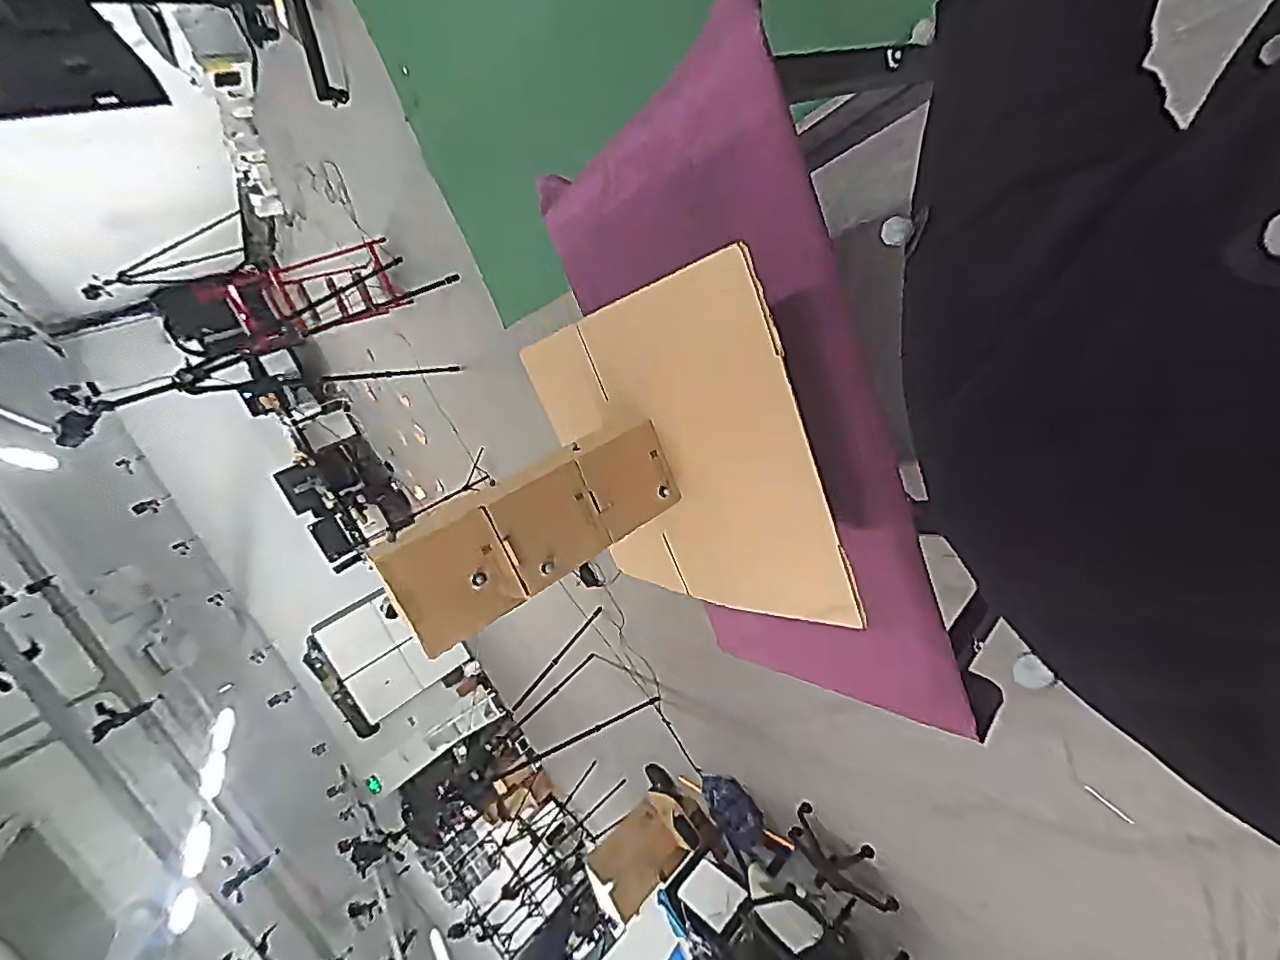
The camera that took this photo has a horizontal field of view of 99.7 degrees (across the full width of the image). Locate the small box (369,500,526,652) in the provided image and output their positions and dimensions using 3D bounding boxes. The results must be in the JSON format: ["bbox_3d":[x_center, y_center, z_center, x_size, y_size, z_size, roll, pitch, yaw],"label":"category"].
[{"bbox_3d":[-0.306,0.141,0.865,0.179,0.176,0.168,-2,114,58],"label":"small box"}]

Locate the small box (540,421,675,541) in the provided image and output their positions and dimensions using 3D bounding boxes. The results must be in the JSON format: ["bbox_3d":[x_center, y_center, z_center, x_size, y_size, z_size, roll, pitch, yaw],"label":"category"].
[{"bbox_3d":[-0.055,-0.003,1.019,0.179,0.176,0.168,1,117,57],"label":"small box"}]
